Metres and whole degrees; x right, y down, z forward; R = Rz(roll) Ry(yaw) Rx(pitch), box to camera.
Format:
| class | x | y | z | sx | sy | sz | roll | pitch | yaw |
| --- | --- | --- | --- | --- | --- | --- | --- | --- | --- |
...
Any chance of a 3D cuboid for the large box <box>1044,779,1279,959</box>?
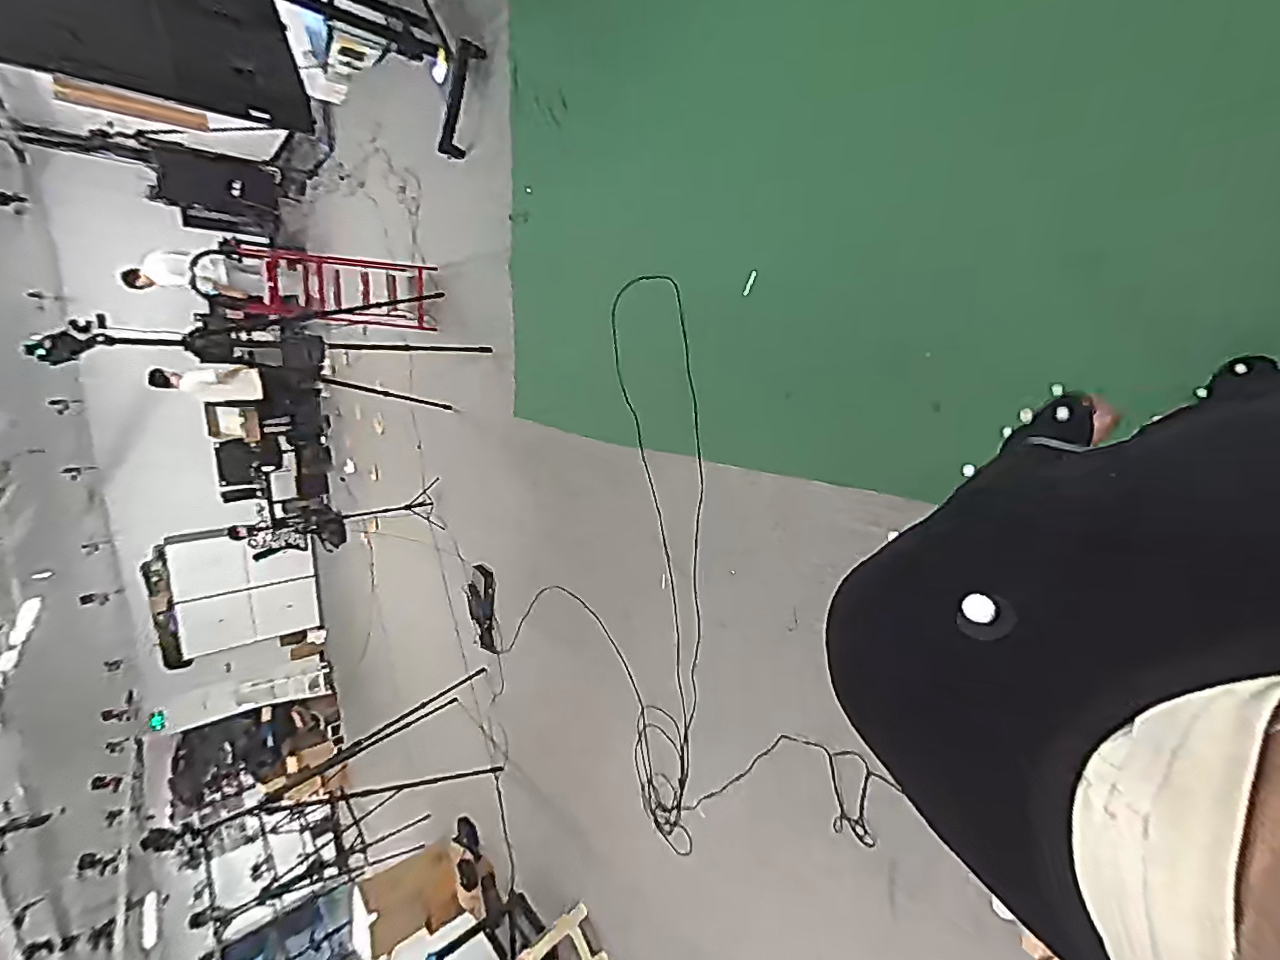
| class | x | y | z | sx | sy | sz | roll | pitch | yaw |
| --- | --- | --- | --- | --- | --- | --- | --- | --- | --- |
| large box | 1.179 | 0.954 | 1.184 | 0.408 | 0.320 | 0.320 | 12 | 106 | 47 |
